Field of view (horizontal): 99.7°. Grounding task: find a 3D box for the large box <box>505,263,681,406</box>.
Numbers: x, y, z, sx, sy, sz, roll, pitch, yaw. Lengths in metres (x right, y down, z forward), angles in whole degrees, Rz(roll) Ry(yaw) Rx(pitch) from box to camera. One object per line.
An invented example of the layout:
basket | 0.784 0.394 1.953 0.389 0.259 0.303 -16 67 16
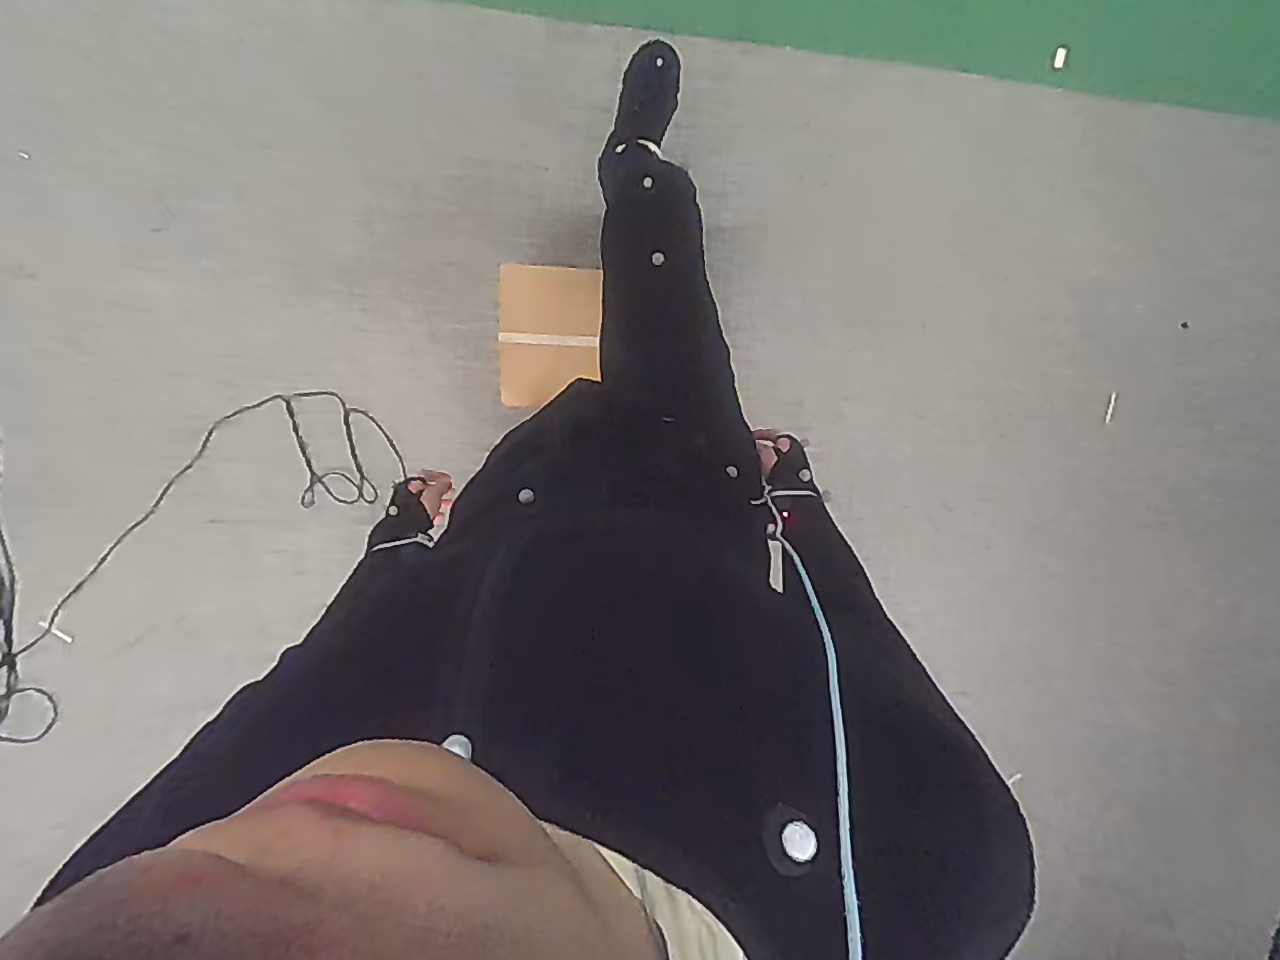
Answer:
large box | -0.125 -0.357 1.391 0.408 0.320 0.320 0 102 -8
